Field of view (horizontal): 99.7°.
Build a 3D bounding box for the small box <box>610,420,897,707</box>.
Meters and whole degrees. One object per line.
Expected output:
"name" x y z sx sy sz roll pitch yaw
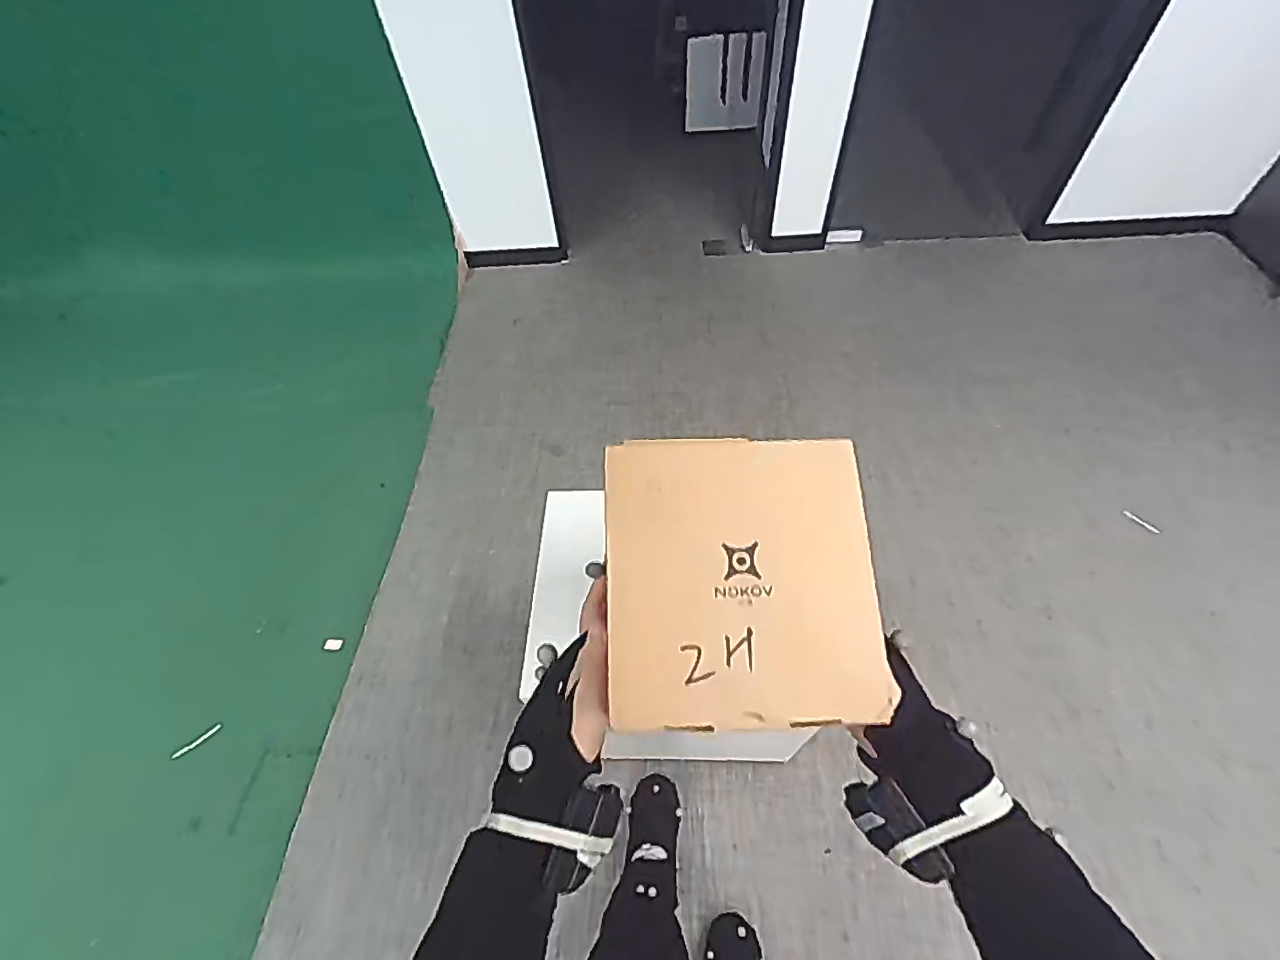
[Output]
"small box" 0.061 0.068 0.405 0.168 0.176 0.179 -1 73 -1
